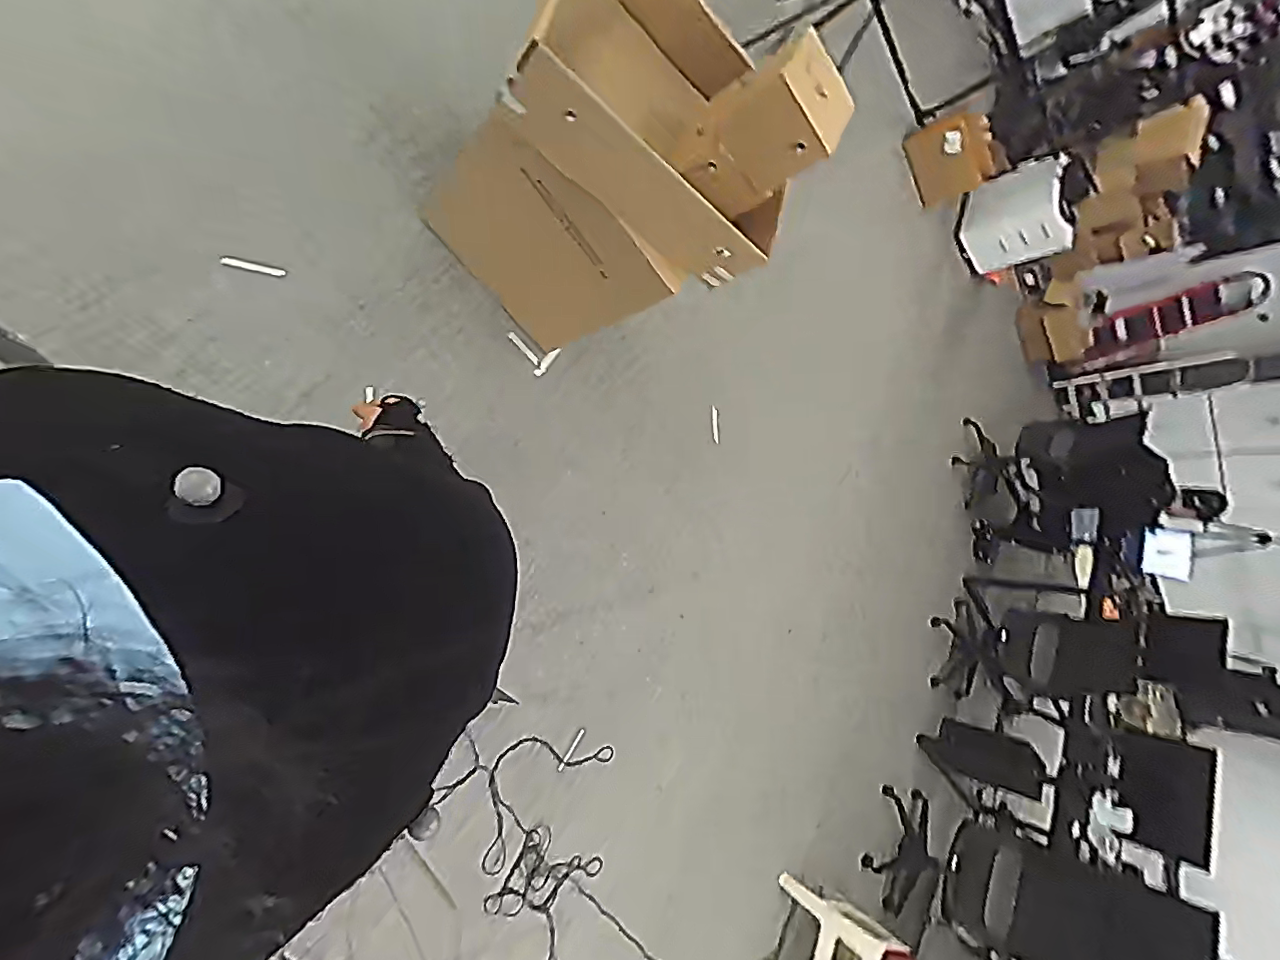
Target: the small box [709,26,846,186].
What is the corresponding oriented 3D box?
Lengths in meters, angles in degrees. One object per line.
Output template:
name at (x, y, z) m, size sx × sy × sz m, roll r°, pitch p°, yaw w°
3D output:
small box at (0.271, -0.719, 1.069) m, size 0.179 × 0.176 × 0.168 m, roll 40°, pitch 65°, yaw -29°
